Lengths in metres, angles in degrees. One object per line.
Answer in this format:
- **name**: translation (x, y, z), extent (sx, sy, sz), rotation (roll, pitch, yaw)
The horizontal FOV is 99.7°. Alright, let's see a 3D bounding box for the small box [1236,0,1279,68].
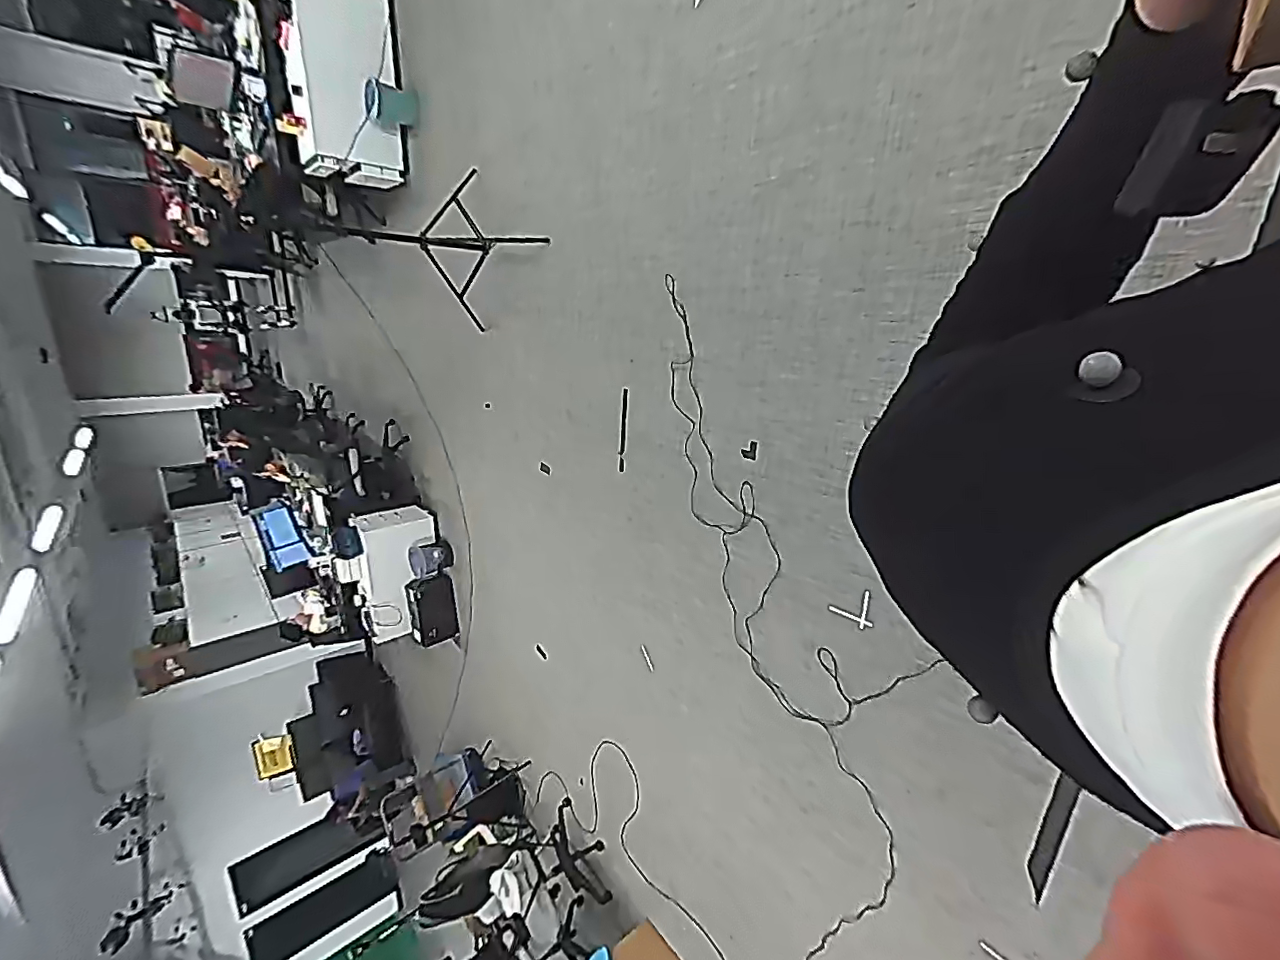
- **small box**: translation (0.293, -0.246, 0.135), extent (0.168, 0.176, 0.179), rotation (12, 117, 41)
